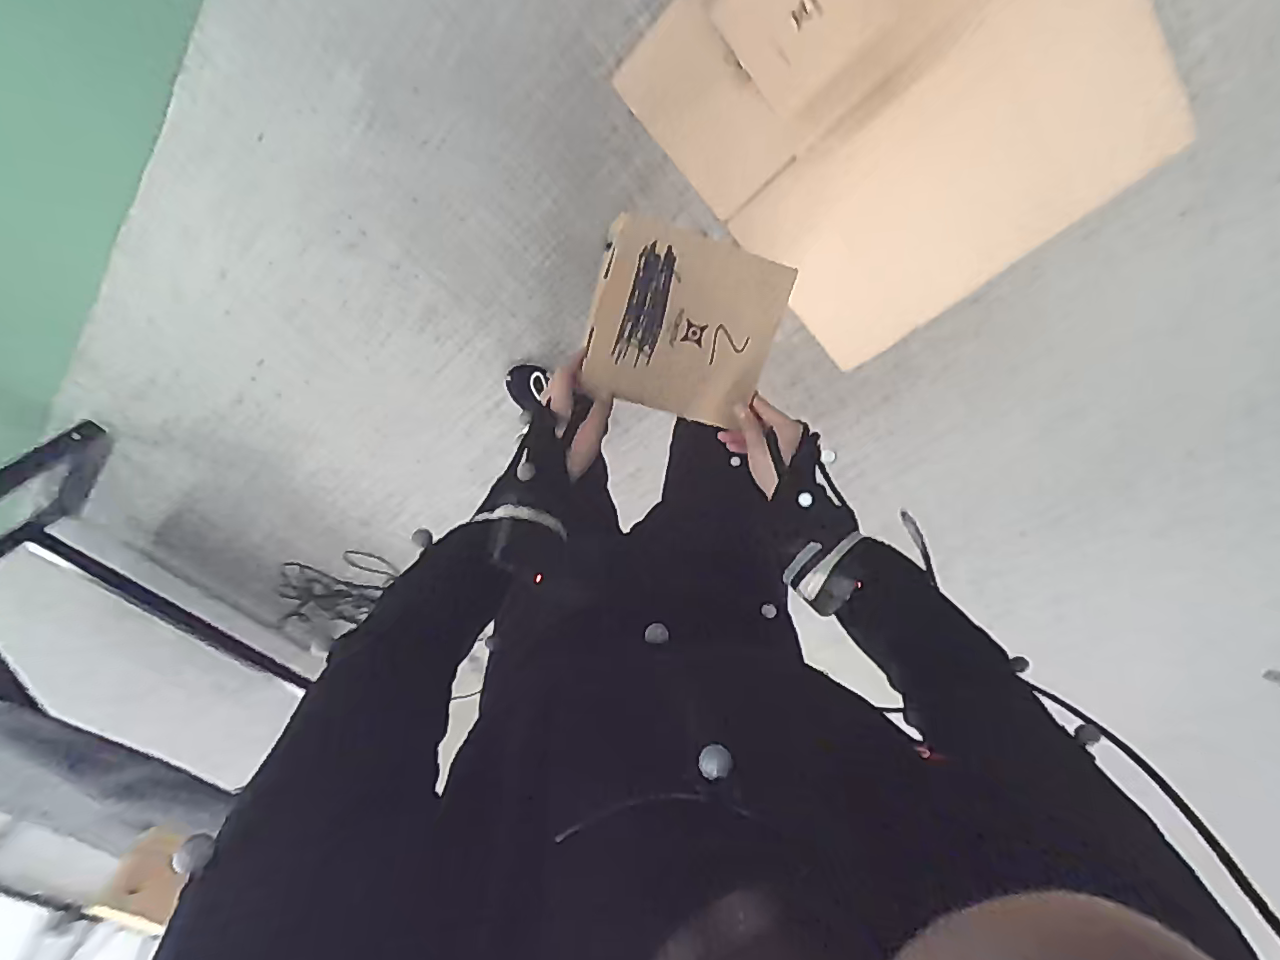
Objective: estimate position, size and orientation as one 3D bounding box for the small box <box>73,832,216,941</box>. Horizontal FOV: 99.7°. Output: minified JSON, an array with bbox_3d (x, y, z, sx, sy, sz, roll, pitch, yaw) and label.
[{"bbox_3d":[-1.190,0.984,1.310,0.168,0.176,0.179,-32,115,29],"label":"small box"}]
